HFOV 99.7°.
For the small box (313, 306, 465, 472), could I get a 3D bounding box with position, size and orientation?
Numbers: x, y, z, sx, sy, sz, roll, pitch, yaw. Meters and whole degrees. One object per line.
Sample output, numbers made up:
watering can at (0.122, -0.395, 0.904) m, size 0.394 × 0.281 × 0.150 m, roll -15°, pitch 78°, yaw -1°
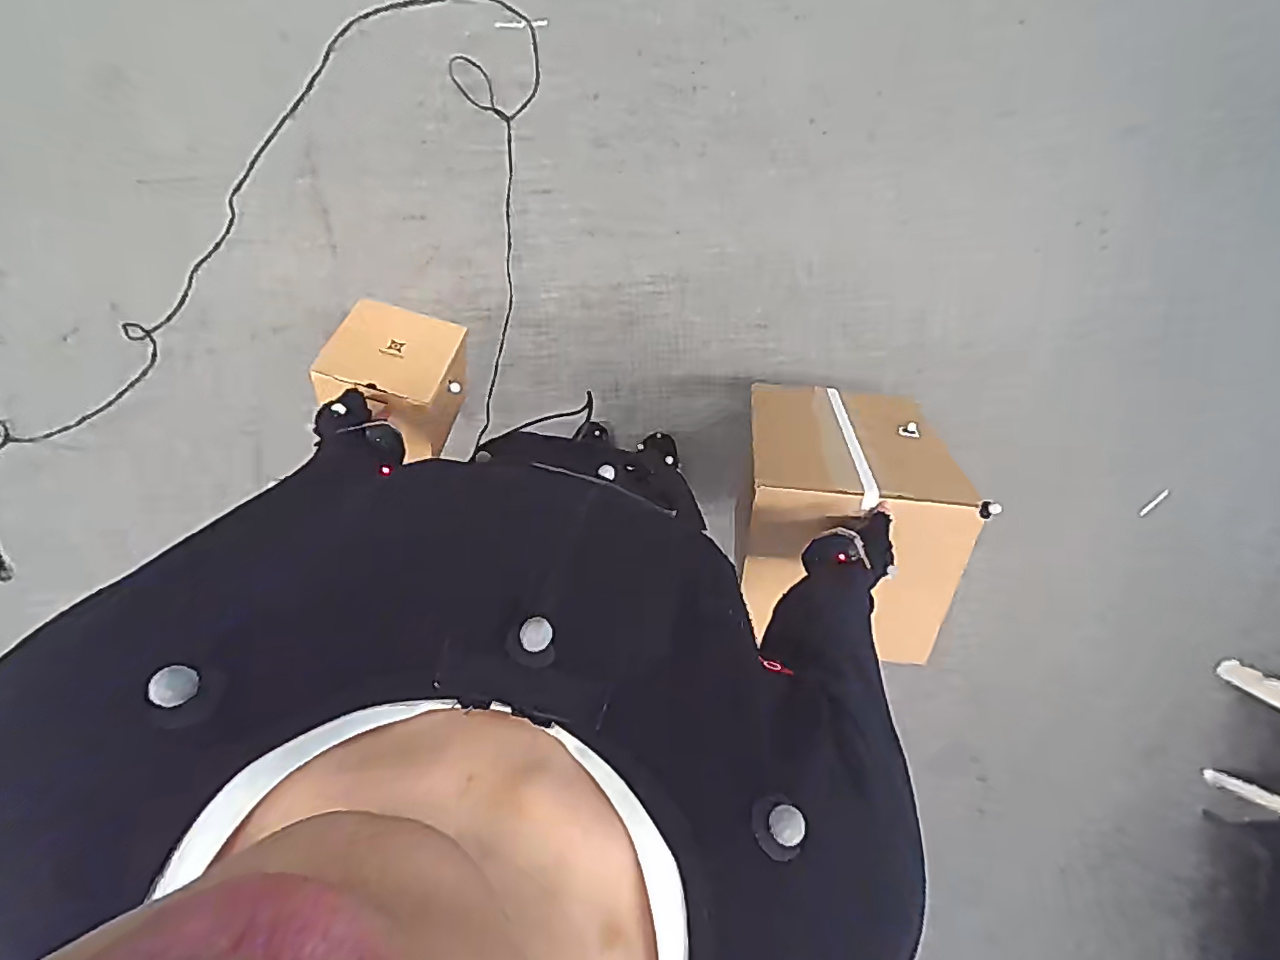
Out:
small box at (-0.393, -0.143, 0.876) m, size 0.168 × 0.176 × 0.179 m, roll 14°, pitch 52°, yaw -9°
